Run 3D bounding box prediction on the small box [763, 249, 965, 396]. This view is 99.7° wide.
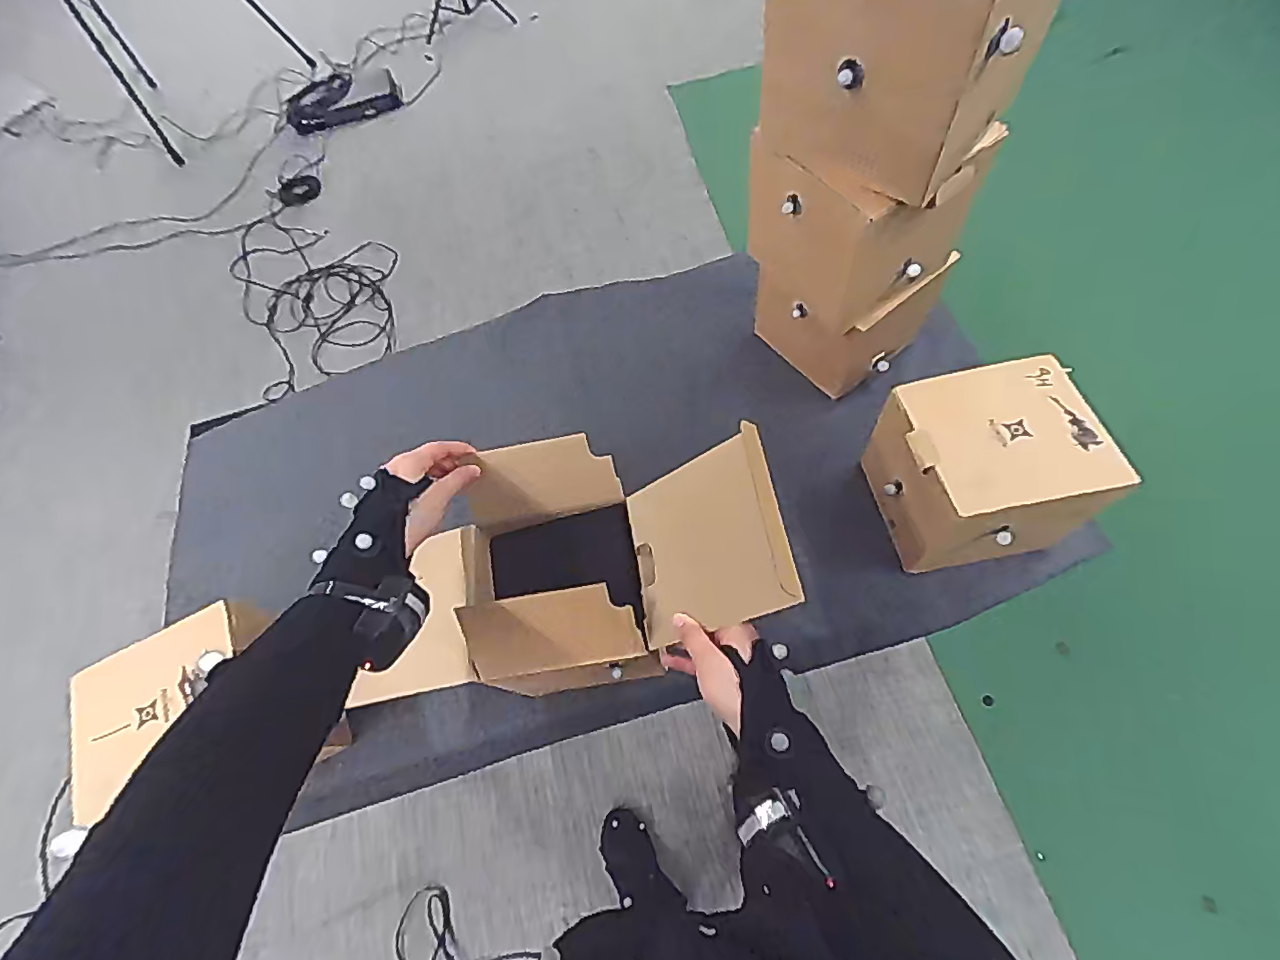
[{"bbox_3d":[0.286,-0.249,0.740,0.168,0.176,0.179,-37,68,-6],"label":"small box"}]

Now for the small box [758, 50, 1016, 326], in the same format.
[{"bbox_3d":[0.243,-0.307,0.590,0.168,0.176,0.179,-34,66,-4],"label":"small box"}]

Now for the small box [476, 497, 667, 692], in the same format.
[{"bbox_3d":[-0.072,0.140,0.619,0.179,0.176,0.168,-10,64,3],"label":"small box"}]

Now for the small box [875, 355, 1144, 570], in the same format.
[{"bbox_3d":[0.386,-0.009,0.614,0.179,0.176,0.168,-12,61,4],"label":"small box"}]

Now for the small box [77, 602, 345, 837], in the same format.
[{"bbox_3d":[-0.468,0.262,0.616,0.179,0.176,0.168,-27,66,-4],"label":"small box"}]
